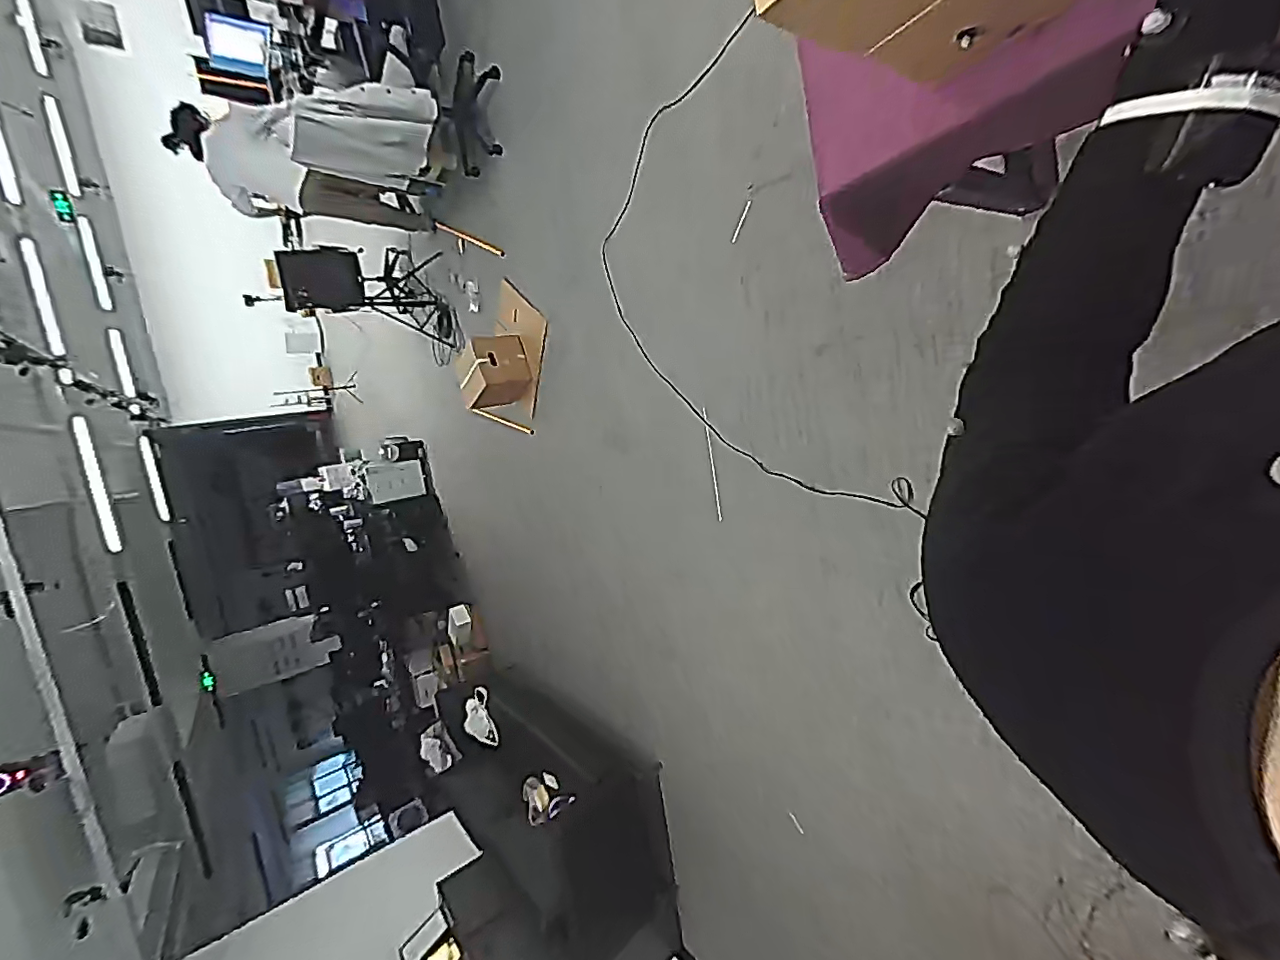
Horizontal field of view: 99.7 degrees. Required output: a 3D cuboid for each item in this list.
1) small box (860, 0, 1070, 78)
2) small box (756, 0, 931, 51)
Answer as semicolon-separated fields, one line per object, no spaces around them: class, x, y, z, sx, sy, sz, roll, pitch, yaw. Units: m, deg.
small box;0.348;-0.580;0.588;0.168;0.176;0.179;-3;99;54
small box;0.216;-0.546;0.496;0.179;0.176;0.168;-3;99;54
